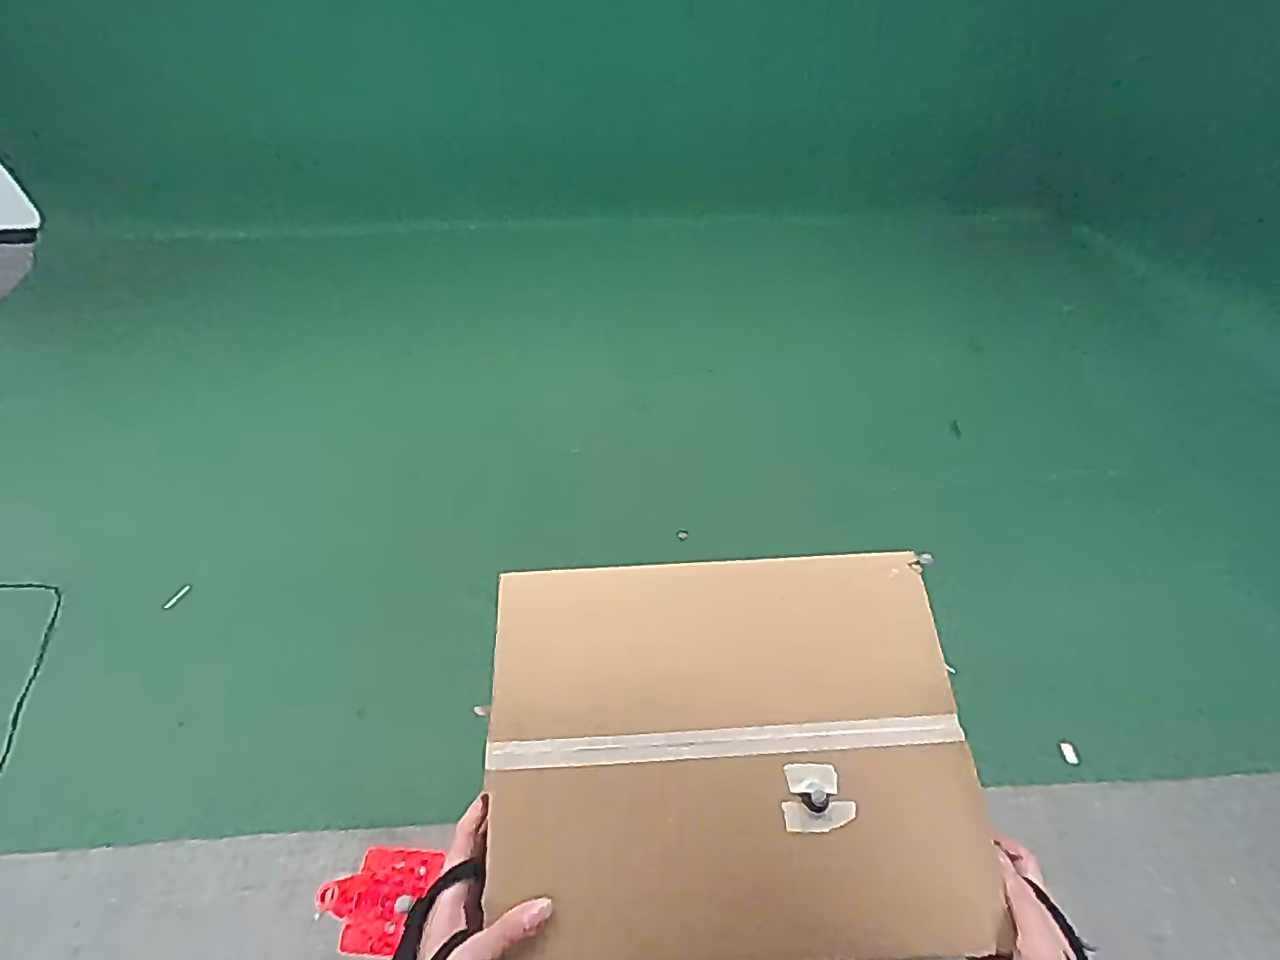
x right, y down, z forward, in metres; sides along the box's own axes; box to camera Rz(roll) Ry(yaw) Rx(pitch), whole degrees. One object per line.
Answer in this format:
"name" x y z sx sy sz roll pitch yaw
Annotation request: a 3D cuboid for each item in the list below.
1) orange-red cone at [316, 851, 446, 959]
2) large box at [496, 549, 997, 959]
"orange-red cone" -0.576 0.880 1.129 0.199 0.360 0.198 2 50 4
"large box" 0.073 0.281 0.614 0.408 0.320 0.320 -3 67 -1
